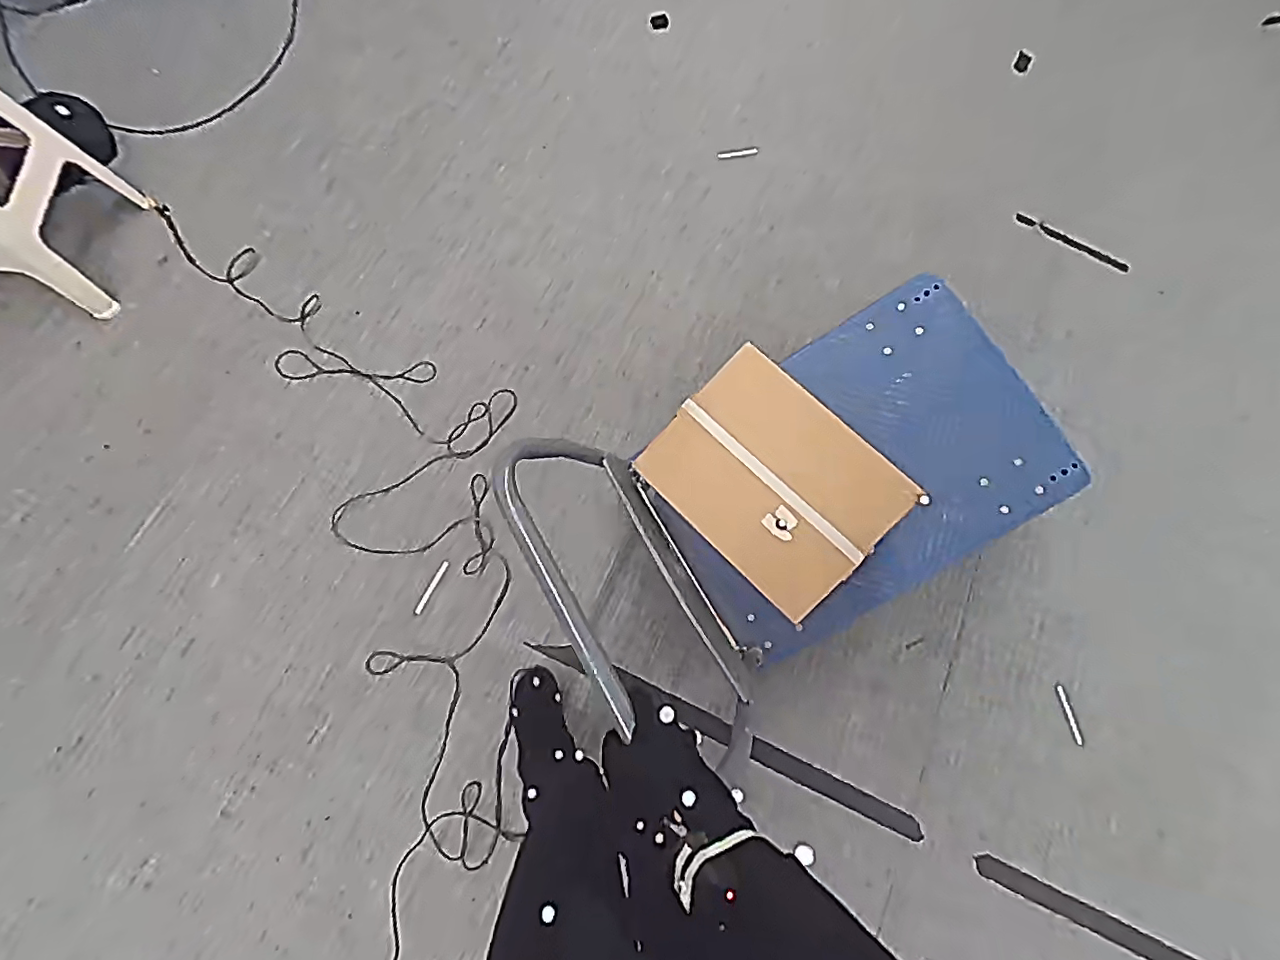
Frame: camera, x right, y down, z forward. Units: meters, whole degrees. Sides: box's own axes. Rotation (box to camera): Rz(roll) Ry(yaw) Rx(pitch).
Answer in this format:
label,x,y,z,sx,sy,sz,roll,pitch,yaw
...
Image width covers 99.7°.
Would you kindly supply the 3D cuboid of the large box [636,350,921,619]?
label,x,y,z,sx,sy,sz,roll,pitch,yaw
large box,0.257,0.013,1.102,0.408,0.320,0.320,43,94,11
